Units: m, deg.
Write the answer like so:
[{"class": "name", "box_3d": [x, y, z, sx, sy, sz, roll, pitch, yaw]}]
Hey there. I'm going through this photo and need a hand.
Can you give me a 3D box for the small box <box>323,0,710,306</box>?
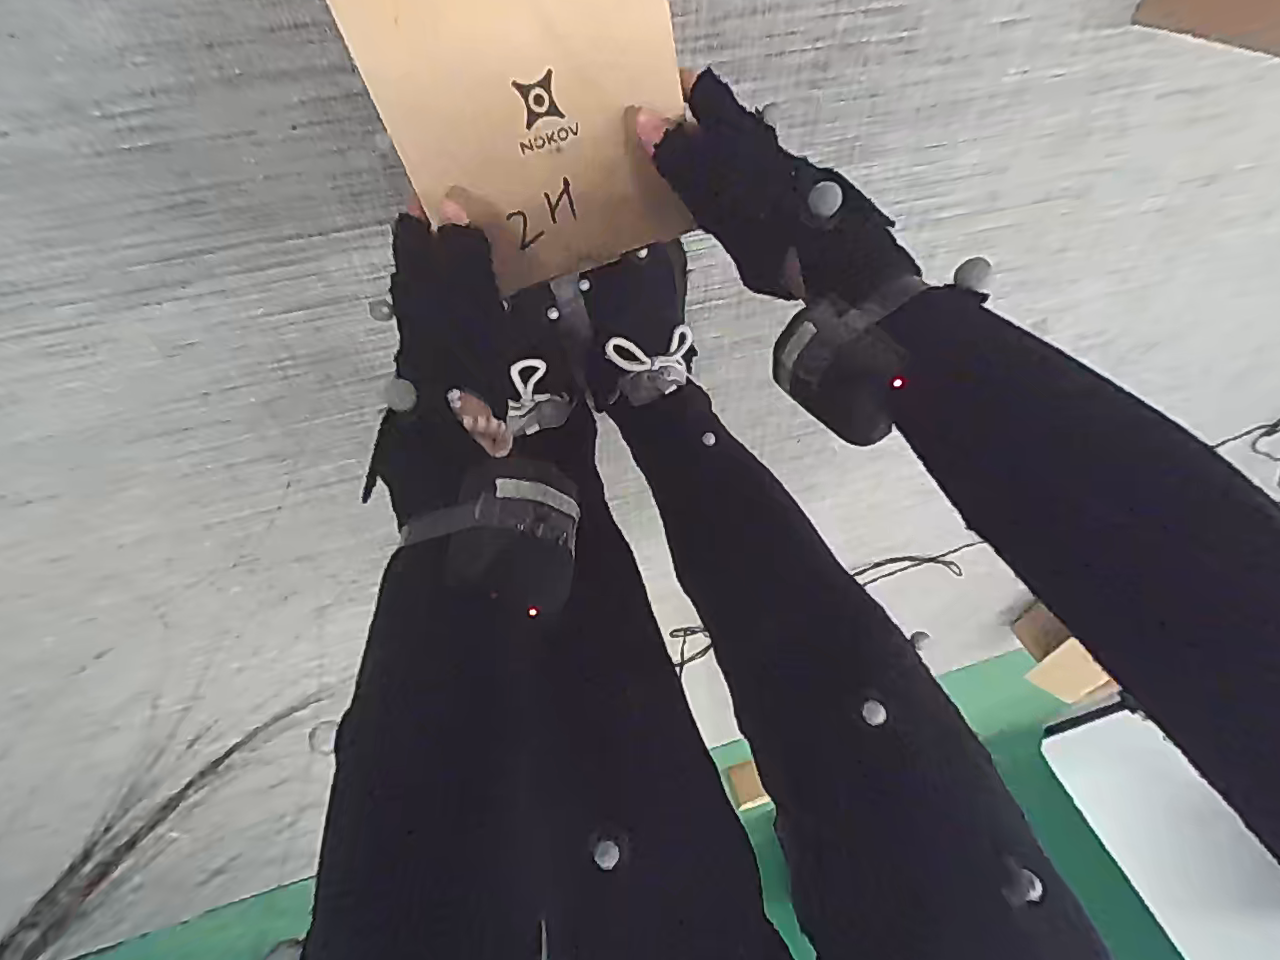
[{"class": "small box", "box_3d": [-0.071, -0.245, 0.346, 0.168, 0.176, 0.179, -20, 131, -1]}]
